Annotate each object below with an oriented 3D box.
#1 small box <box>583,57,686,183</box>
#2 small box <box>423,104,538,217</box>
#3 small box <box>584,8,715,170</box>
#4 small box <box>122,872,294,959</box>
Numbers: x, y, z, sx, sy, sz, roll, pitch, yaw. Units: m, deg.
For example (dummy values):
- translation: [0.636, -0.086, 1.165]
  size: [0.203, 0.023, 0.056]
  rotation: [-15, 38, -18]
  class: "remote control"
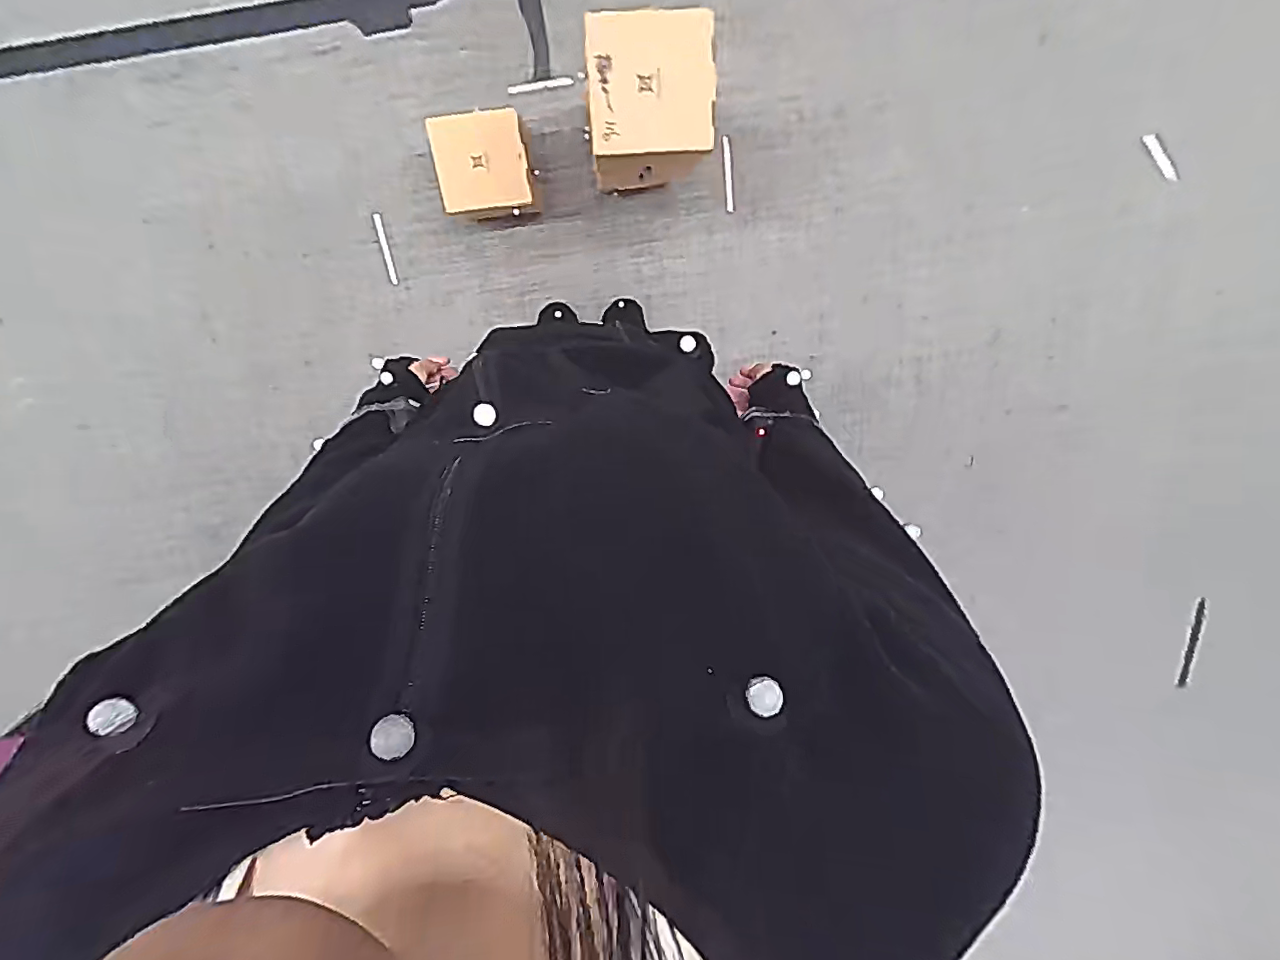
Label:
- translation: [-0.003, -0.638, 0.964]
  size: [0.179, 0.176, 0.168]
  rotation: [-7, 113, -2]
  class: "small box"
- translation: [-0.318, -0.650, 1.117]
  size: [0.179, 0.176, 0.168]
  rotation: [-8, 112, -1]
  class: "small box"
- translation: [0.009, -0.574, 0.814]
  size: [0.179, 0.176, 0.168]
  rotation: [-4, 112, -4]
  class: "small box"
- translation: [-0.697, 0.770, 0.870]
  size: [0.179, 0.176, 0.168]
  rotation: [-9, 111, 1]
  class: "small box"
